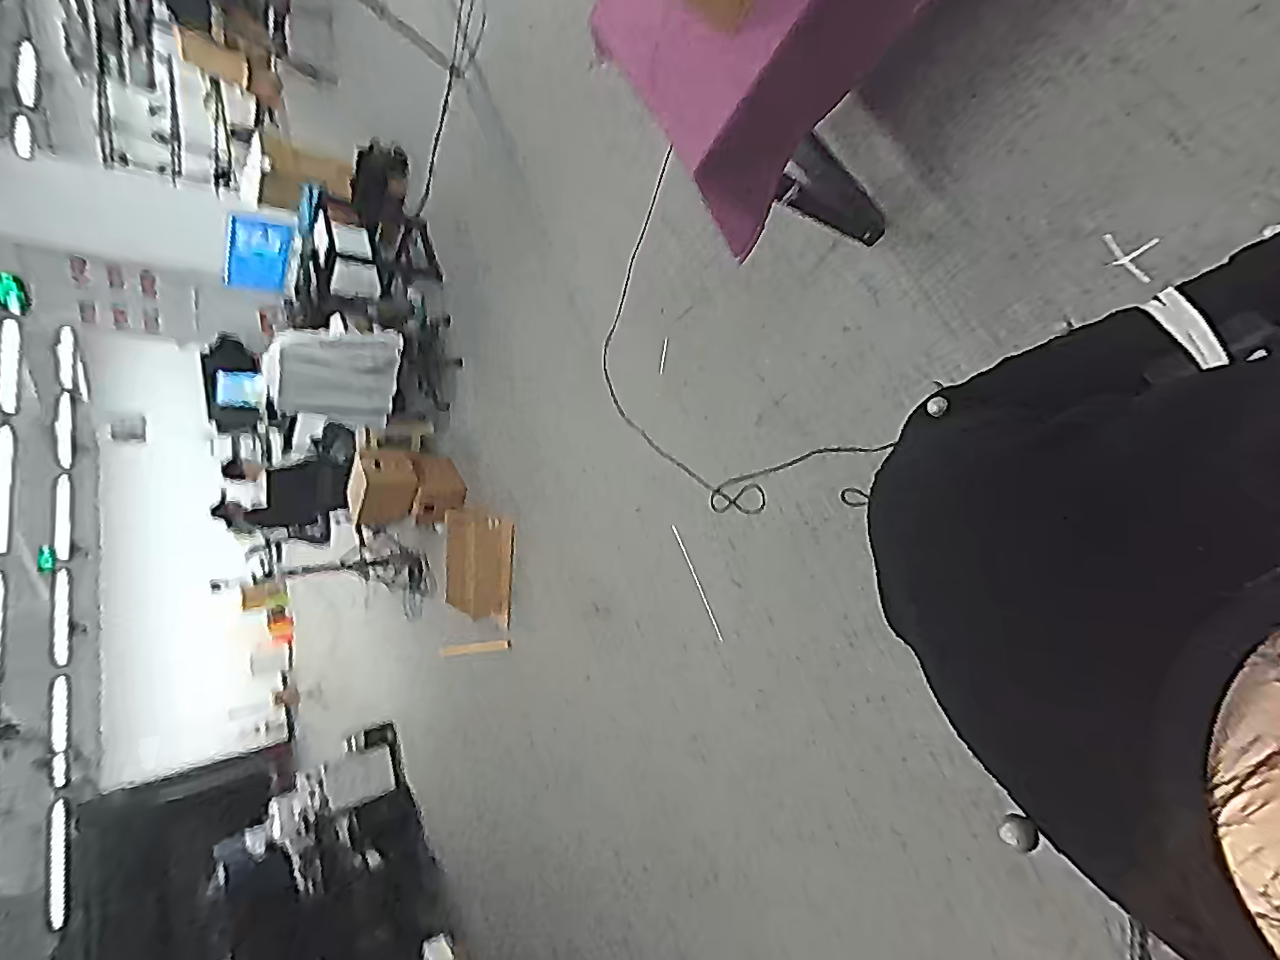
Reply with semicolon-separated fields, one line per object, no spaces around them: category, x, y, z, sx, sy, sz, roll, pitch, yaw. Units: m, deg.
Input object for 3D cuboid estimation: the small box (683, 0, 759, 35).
small box;0.125;-0.919;0.921;0.168;0.176;0.179;-42;61;41
